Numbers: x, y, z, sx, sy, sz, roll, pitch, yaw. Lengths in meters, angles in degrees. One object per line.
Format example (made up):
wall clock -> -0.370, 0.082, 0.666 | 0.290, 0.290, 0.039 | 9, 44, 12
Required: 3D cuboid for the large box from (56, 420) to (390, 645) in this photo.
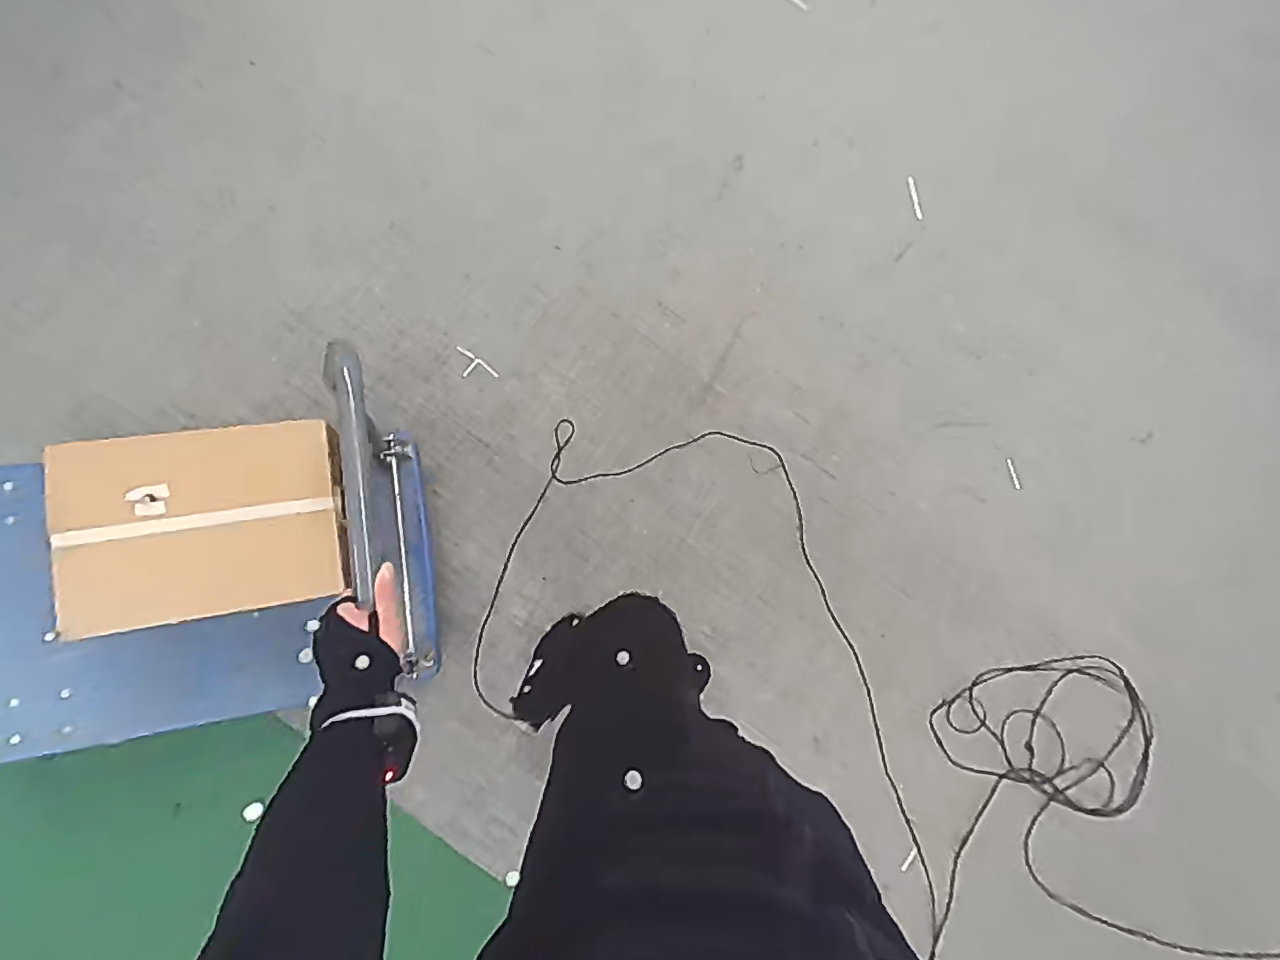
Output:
large box -> -0.744, 0.093, 1.036 | 0.408, 0.320, 0.320 | -9, 84, -14
